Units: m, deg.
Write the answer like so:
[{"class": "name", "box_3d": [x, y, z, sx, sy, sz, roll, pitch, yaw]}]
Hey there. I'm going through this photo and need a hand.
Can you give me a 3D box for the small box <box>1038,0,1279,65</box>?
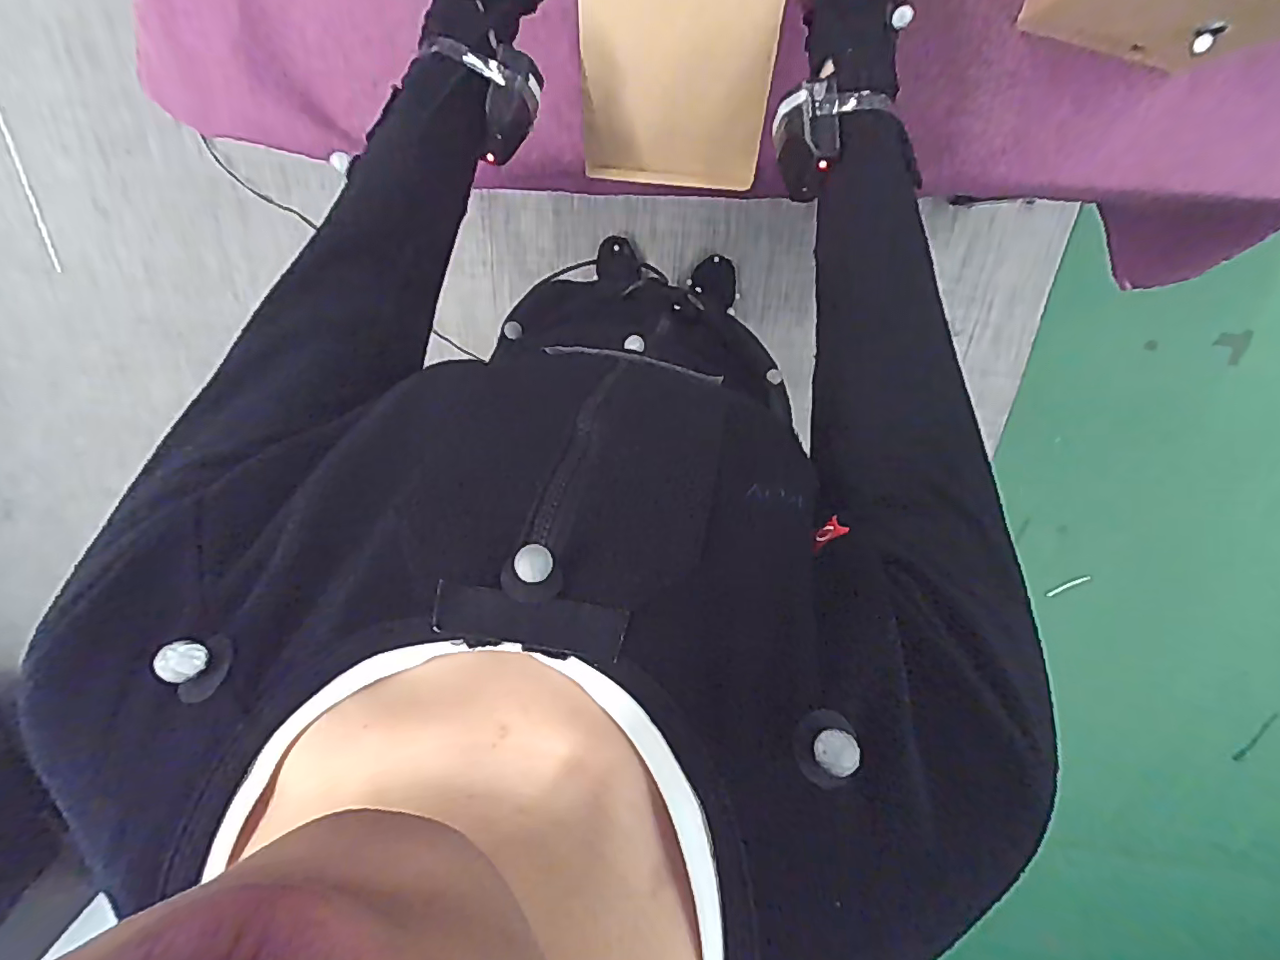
[{"class": "small box", "box_3d": [0.449, -0.452, 0.406, 0.168, 0.176, 0.179, 15, 115, -2]}]
